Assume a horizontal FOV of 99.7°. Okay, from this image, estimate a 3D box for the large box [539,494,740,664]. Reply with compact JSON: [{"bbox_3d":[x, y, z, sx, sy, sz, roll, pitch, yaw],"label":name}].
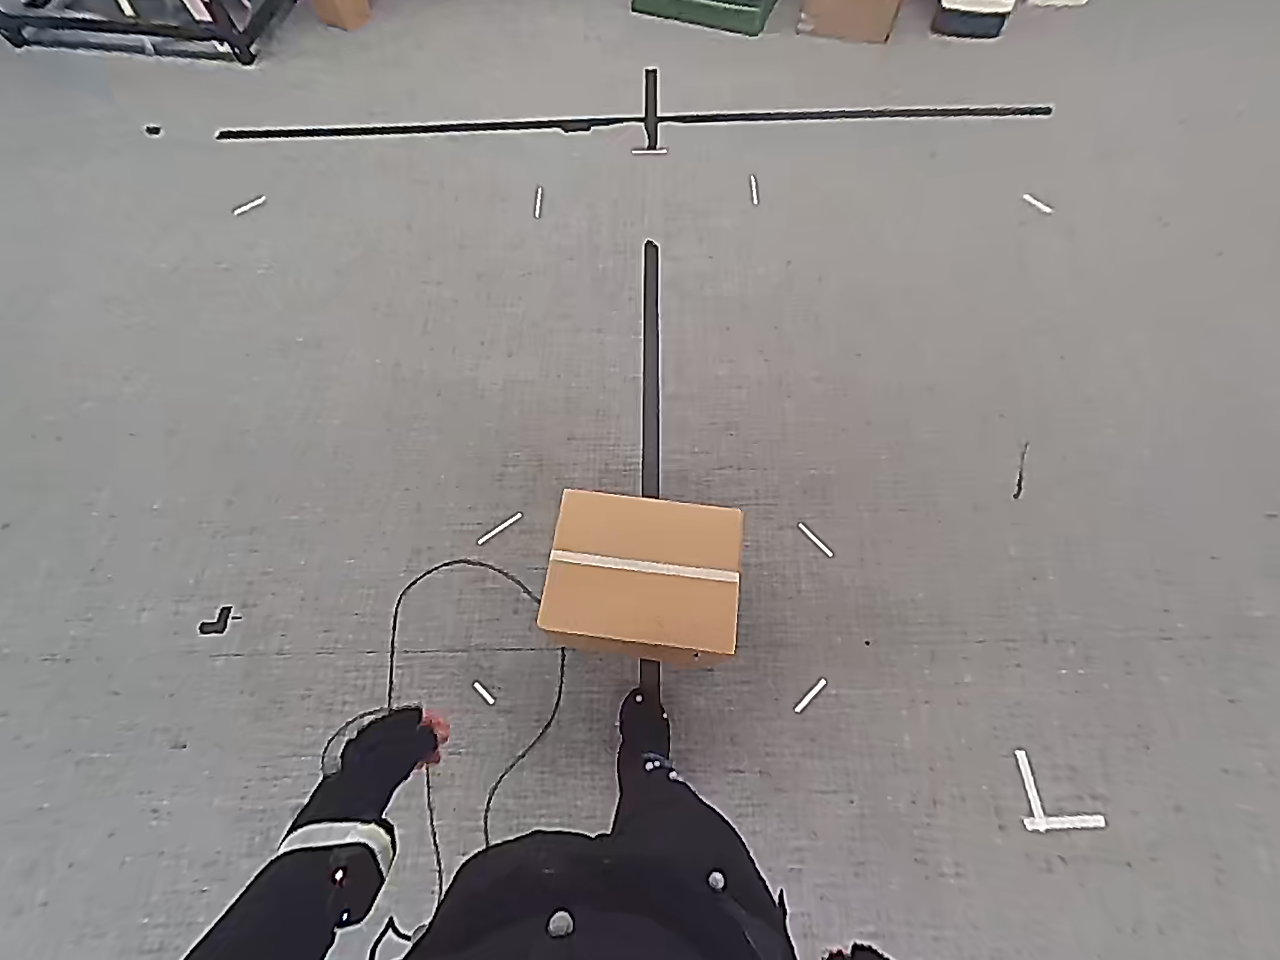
[{"bbox_3d":[0.010,0.247,1.279,0.408,0.320,0.320,7,66,3],"label":"large box"}]
